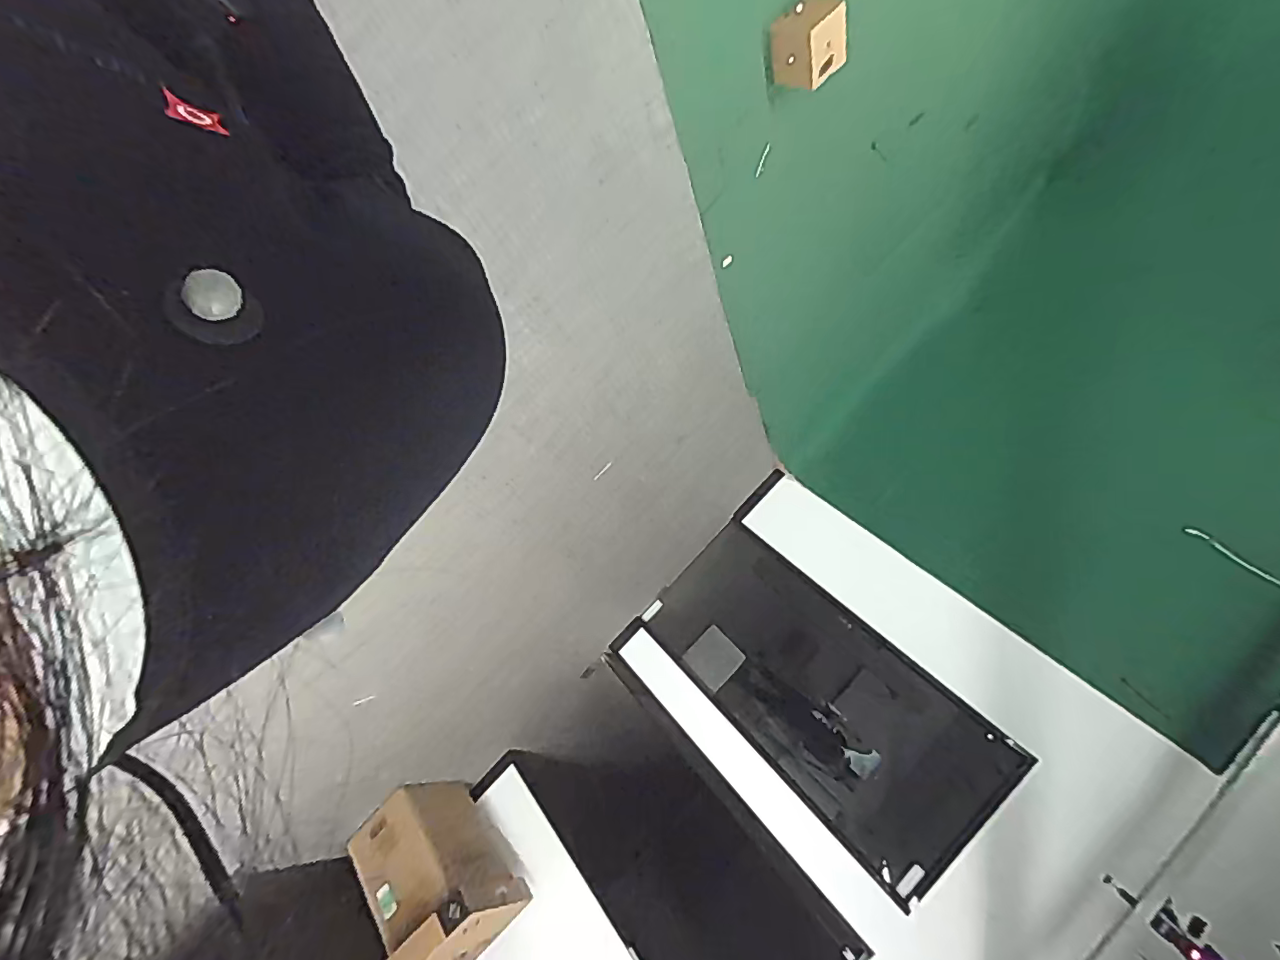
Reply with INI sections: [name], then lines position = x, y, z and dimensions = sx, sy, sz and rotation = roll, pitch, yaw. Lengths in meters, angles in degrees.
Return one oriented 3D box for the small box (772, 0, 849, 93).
[small box]
position = 0.551, -1.408, 1.751
dimensions = 0.168, 0.176, 0.179
rotation = -45, 147, -7
